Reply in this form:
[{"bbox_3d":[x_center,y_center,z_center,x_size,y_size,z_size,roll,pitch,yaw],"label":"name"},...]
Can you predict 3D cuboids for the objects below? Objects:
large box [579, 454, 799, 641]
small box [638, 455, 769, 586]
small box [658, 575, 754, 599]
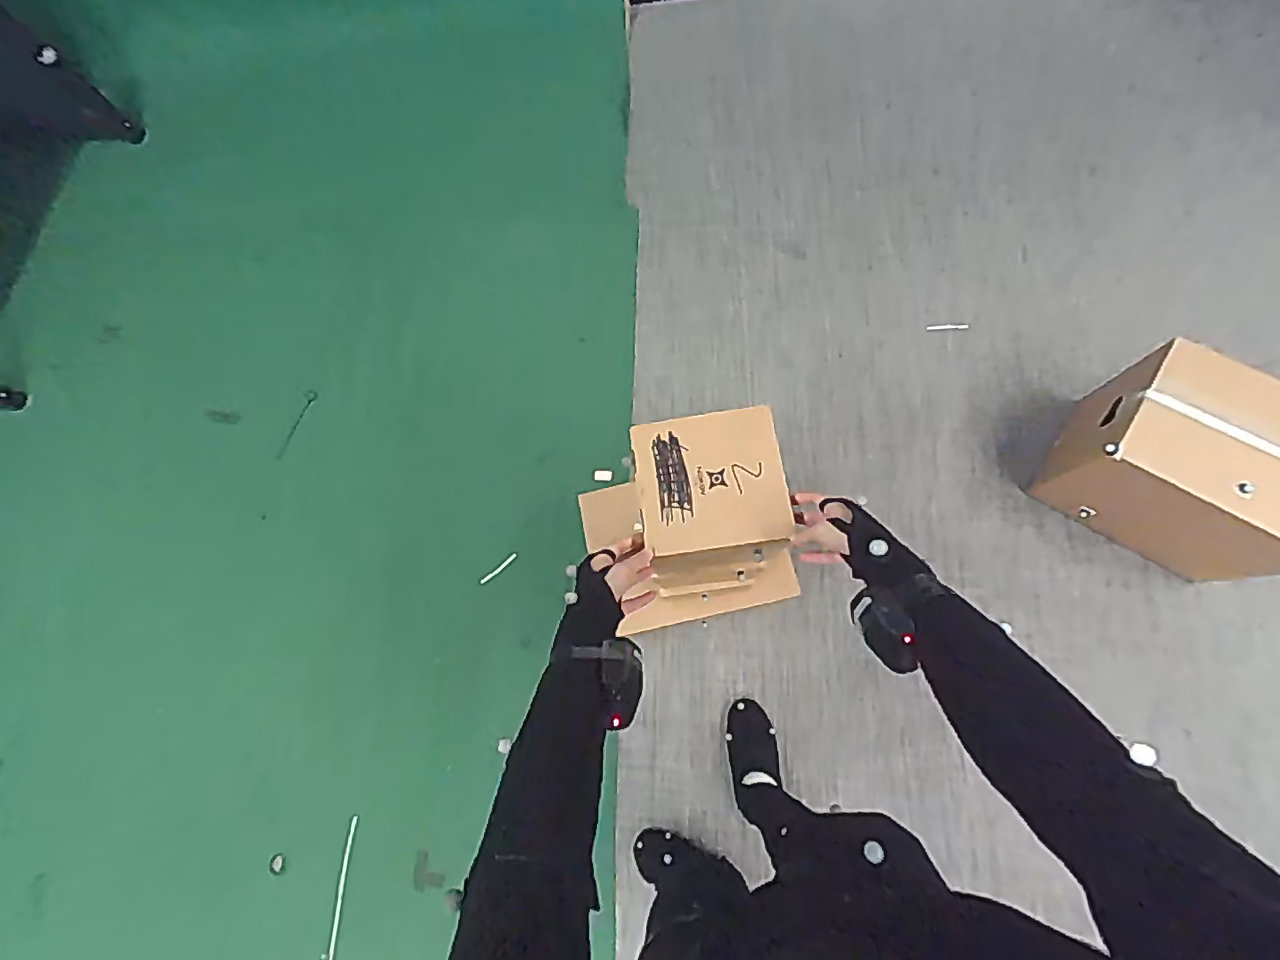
[{"bbox_3d":[0.111,0.175,1.258,0.408,0.320,0.320,-14,71,4],"label":"large box"},{"bbox_3d":[0.099,0.073,0.862,0.179,0.176,0.168,-7,73,4],"label":"small box"},{"bbox_3d":[0.114,0.126,1.014,0.168,0.176,0.179,-8,73,4],"label":"small box"}]
